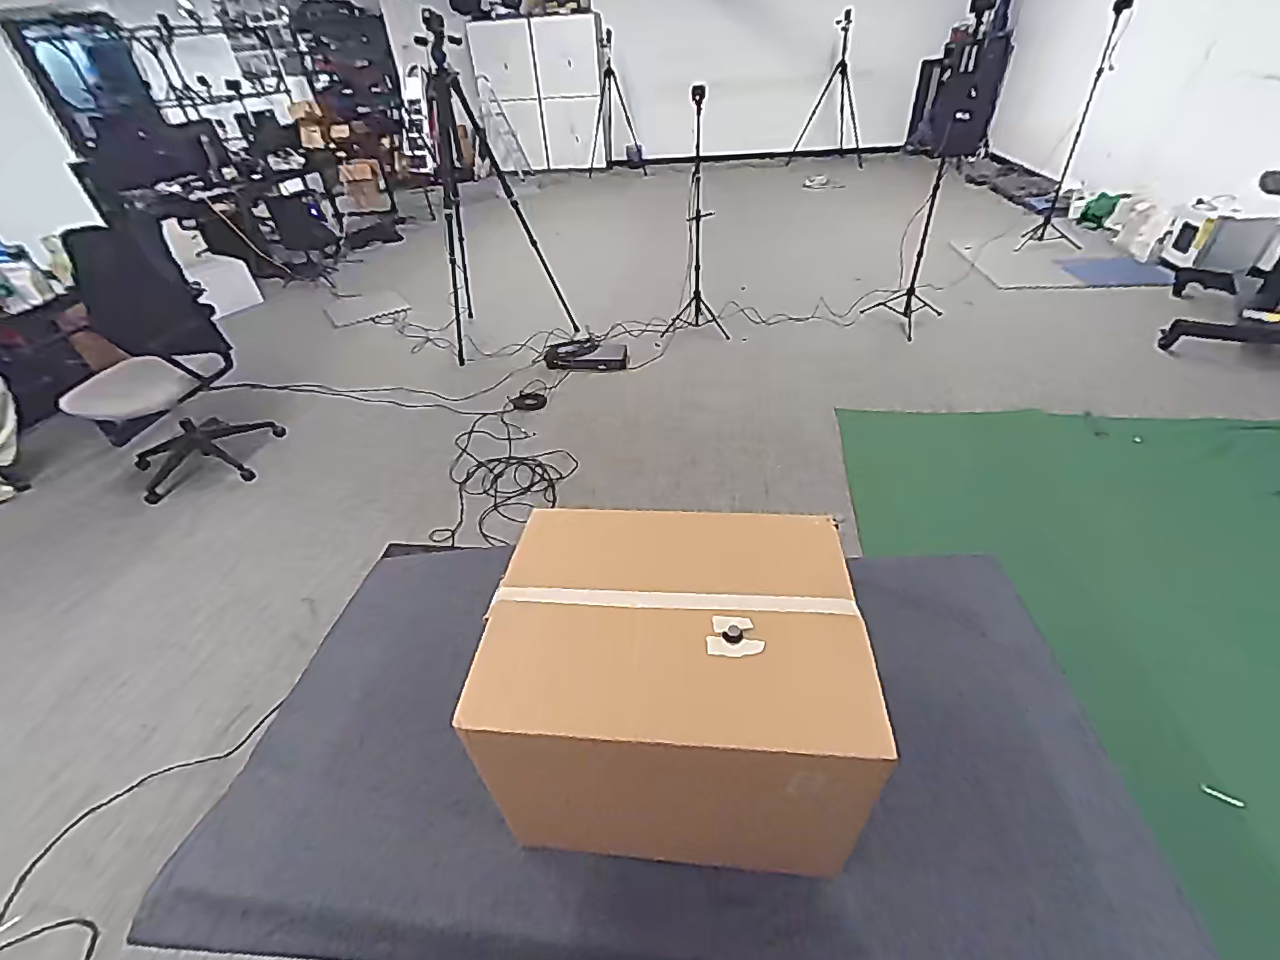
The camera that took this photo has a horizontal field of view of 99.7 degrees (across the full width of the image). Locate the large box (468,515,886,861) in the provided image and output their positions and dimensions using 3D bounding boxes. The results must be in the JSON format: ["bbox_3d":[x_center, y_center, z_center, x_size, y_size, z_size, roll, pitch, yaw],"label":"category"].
[{"bbox_3d":[0.045,0.261,0.712,0.408,0.320,0.320,1,39,6],"label":"large box"}]
